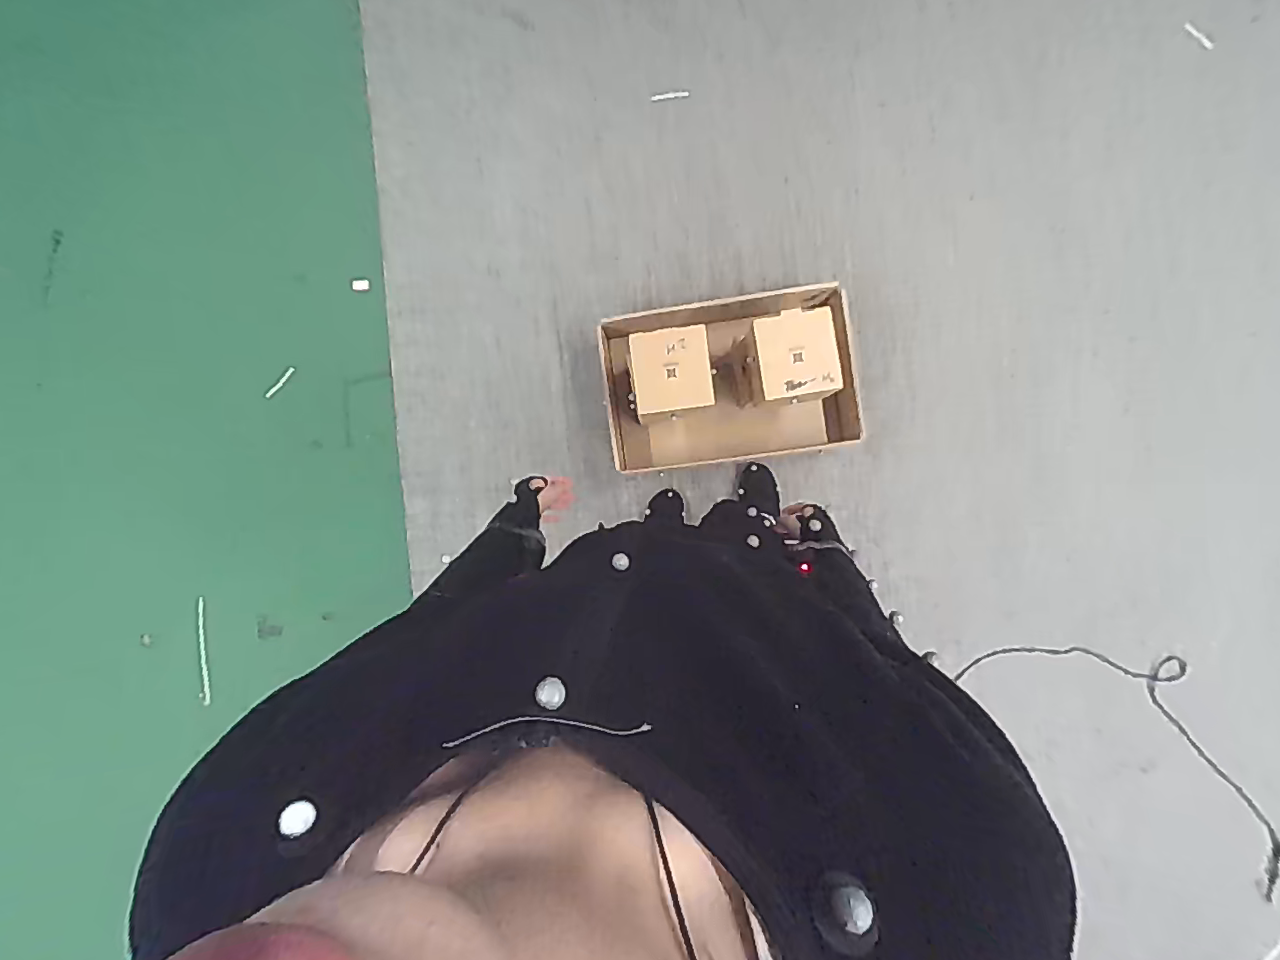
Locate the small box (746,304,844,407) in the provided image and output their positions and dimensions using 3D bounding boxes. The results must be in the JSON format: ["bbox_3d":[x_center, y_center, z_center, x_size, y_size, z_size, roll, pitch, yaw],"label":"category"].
[{"bbox_3d":[0.337,-0.270,1.208,0.168,0.176,0.179,-9,89,4],"label":"small box"}]

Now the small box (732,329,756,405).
[{"bbox_3d":[0.337,-0.294,1.370,0.179,0.176,0.168,-12,91,2],"label":"small box"}]

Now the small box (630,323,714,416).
[{"bbox_3d":[0.073,-0.241,1.224,0.168,0.176,0.179,-7,91,2],"label":"small box"}]

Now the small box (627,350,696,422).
[{"bbox_3d":[0.071,-0.250,1.388,0.179,0.176,0.168,-11,90,2],"label":"small box"}]
